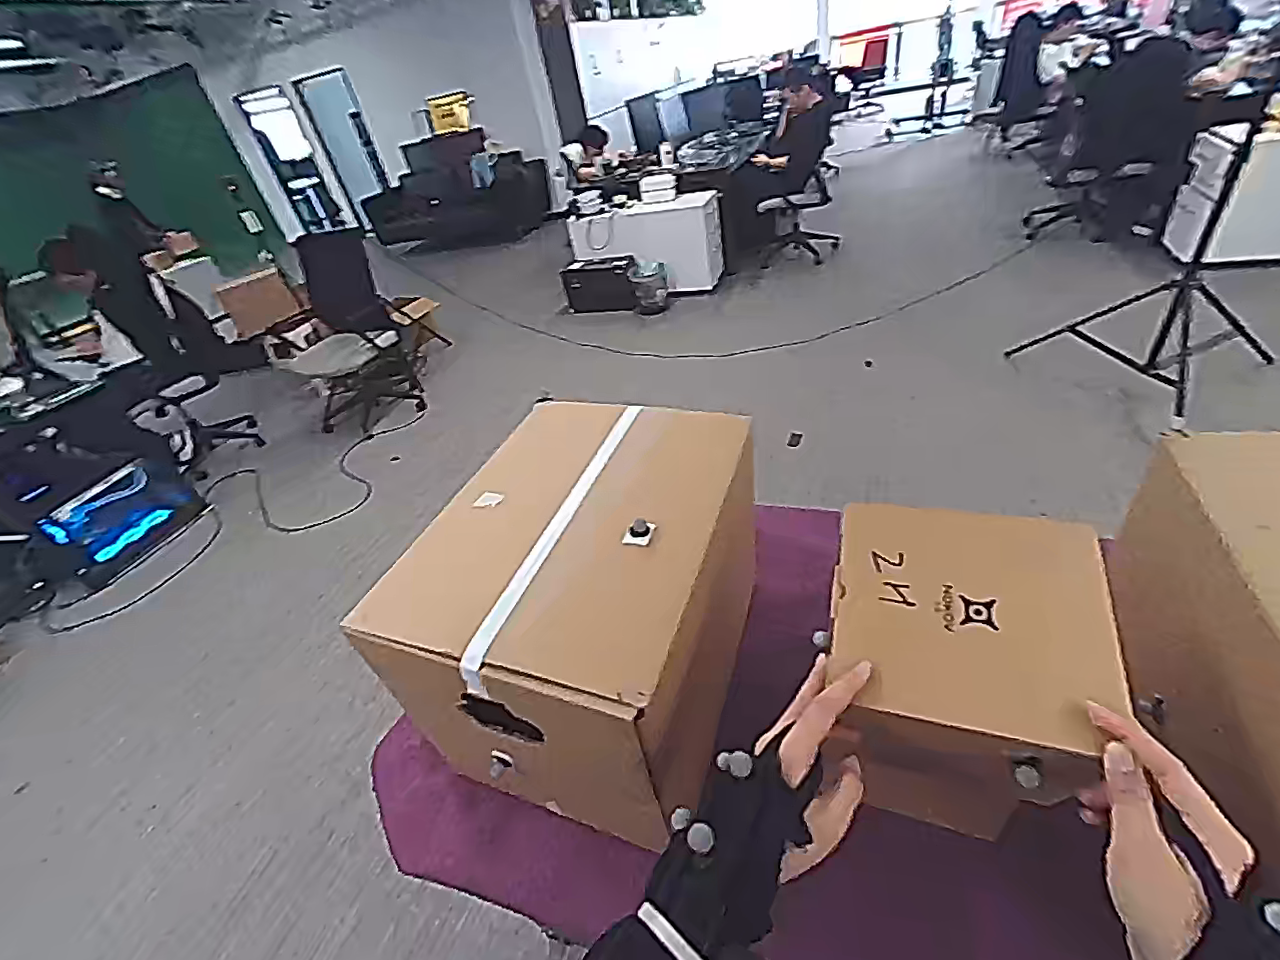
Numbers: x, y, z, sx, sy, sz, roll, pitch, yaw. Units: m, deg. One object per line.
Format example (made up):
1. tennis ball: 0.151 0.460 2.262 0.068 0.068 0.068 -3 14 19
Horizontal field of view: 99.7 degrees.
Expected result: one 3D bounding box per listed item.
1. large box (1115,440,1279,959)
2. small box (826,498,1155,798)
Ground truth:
1. large box: 0.600 0.212 0.409 0.320 0.320 0.408 5 39 22
2. small box: 0.251 0.136 0.435 0.179 0.176 0.168 5 54 22
